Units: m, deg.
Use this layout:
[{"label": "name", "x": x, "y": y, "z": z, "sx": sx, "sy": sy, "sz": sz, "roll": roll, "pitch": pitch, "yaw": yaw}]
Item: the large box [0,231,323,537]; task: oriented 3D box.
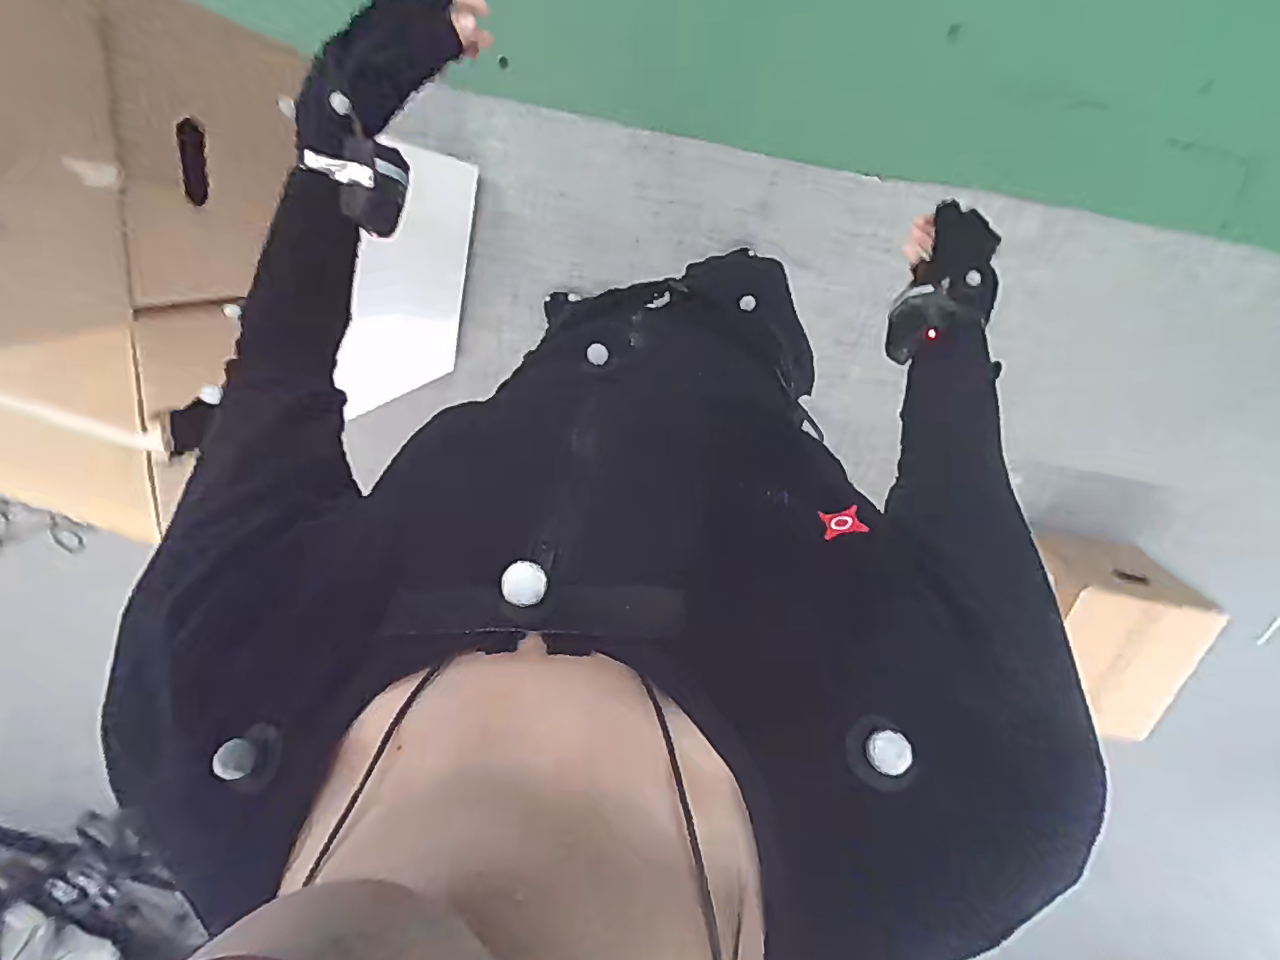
[{"label": "large box", "x": -0.763, "y": -0.164, "z": 0.809, "sx": 0.408, "sy": 0.320, "sz": 0.320, "roll": 16, "pitch": 114, "yaw": 3}]
